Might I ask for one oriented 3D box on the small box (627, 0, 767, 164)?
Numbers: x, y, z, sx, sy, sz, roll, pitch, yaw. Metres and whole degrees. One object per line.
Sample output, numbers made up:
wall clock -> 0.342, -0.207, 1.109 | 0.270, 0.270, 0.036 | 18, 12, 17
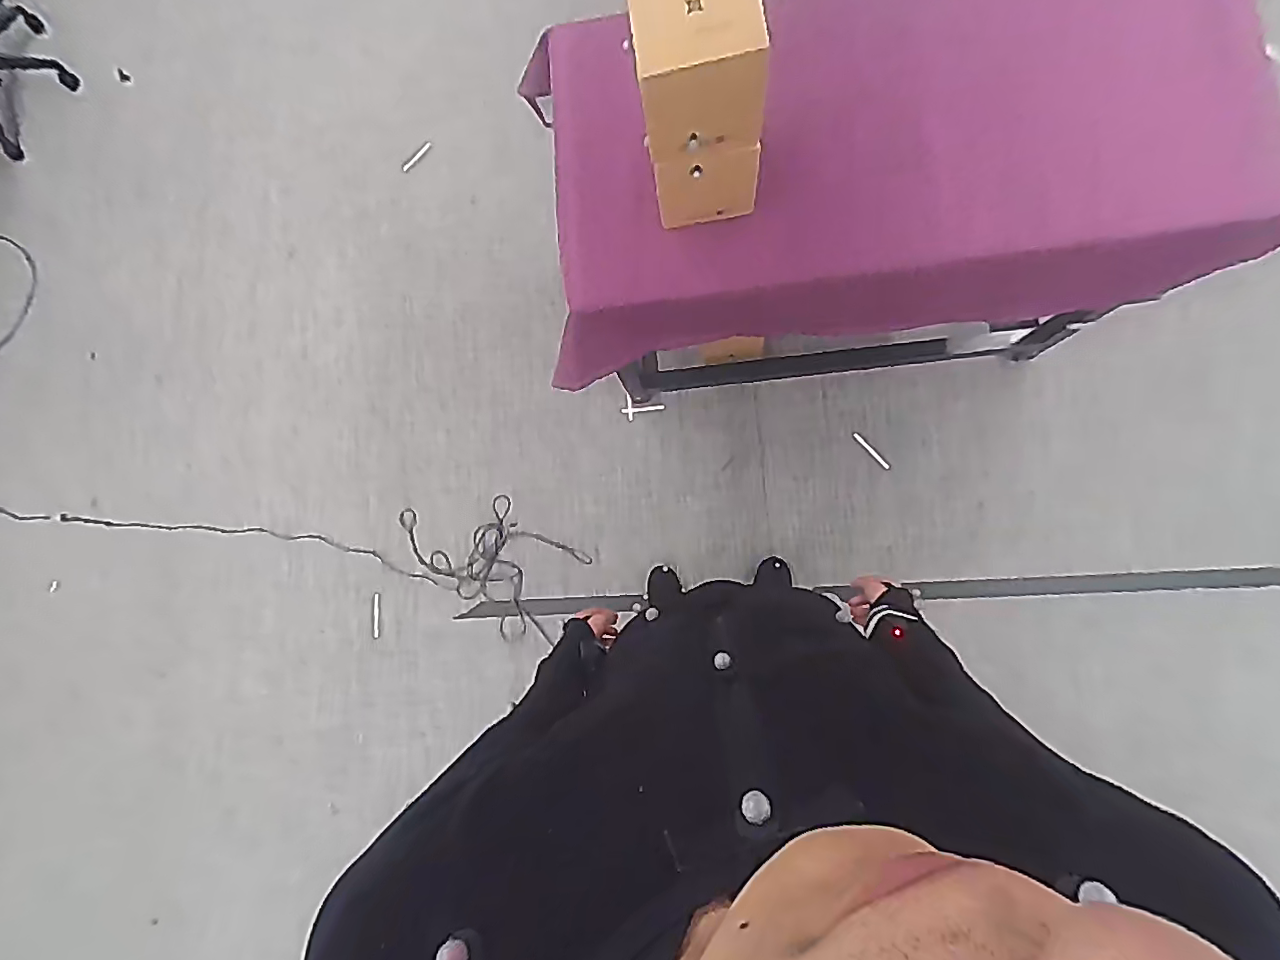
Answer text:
small box -> 0.075, -0.591, 0.761 | 0.168, 0.176, 0.179 | -8, 82, 6

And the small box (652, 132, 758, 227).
small box -> 0.102, -0.569, 0.921 | 0.168, 0.176, 0.179 | -7, 82, 7
